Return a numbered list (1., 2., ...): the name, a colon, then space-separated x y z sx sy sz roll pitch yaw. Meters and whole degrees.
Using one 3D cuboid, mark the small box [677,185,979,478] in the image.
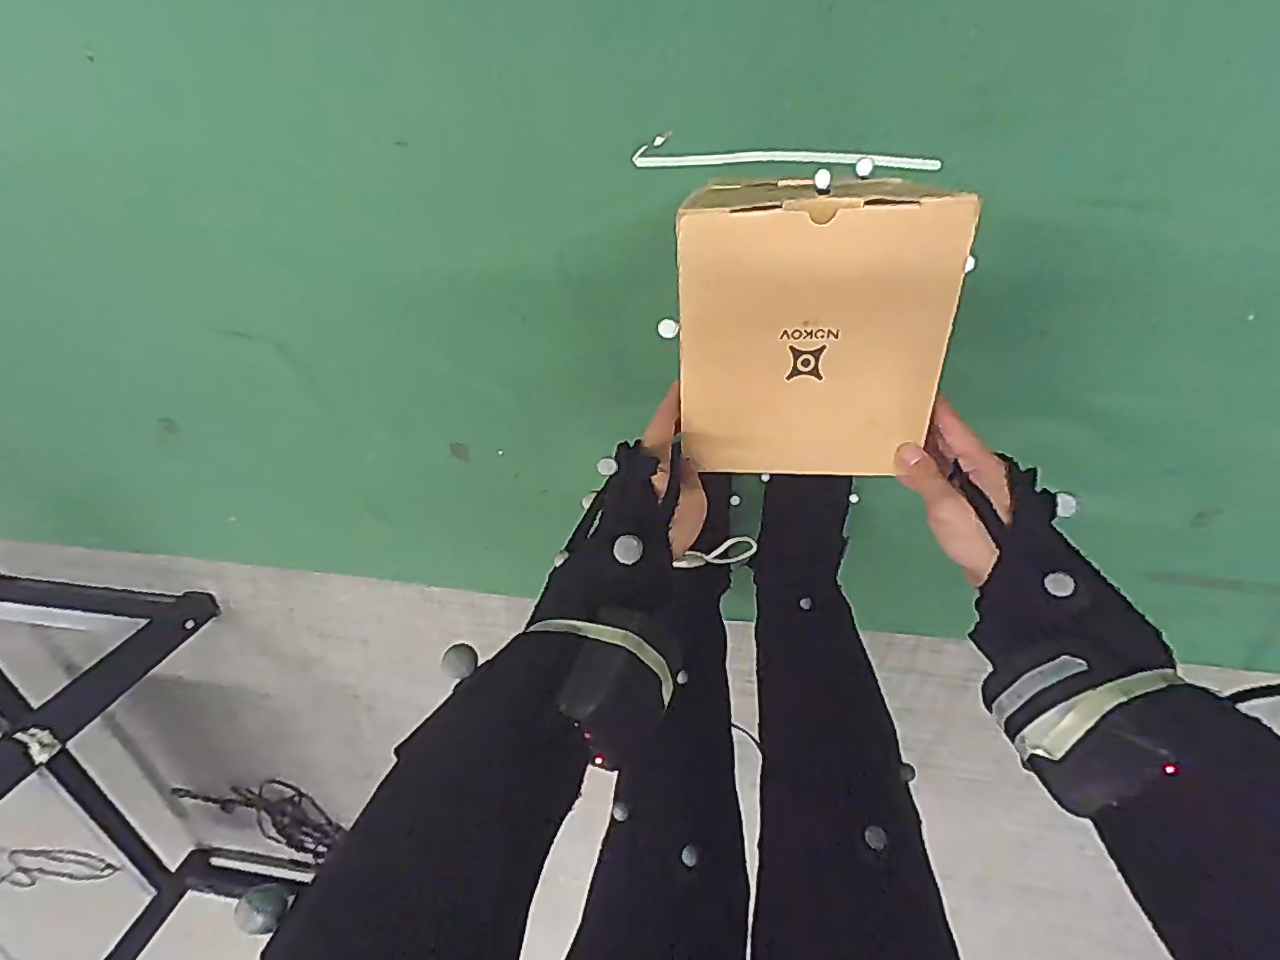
1. small box: 0.118 -0.119 0.411 0.168 0.176 0.179 2 120 8
